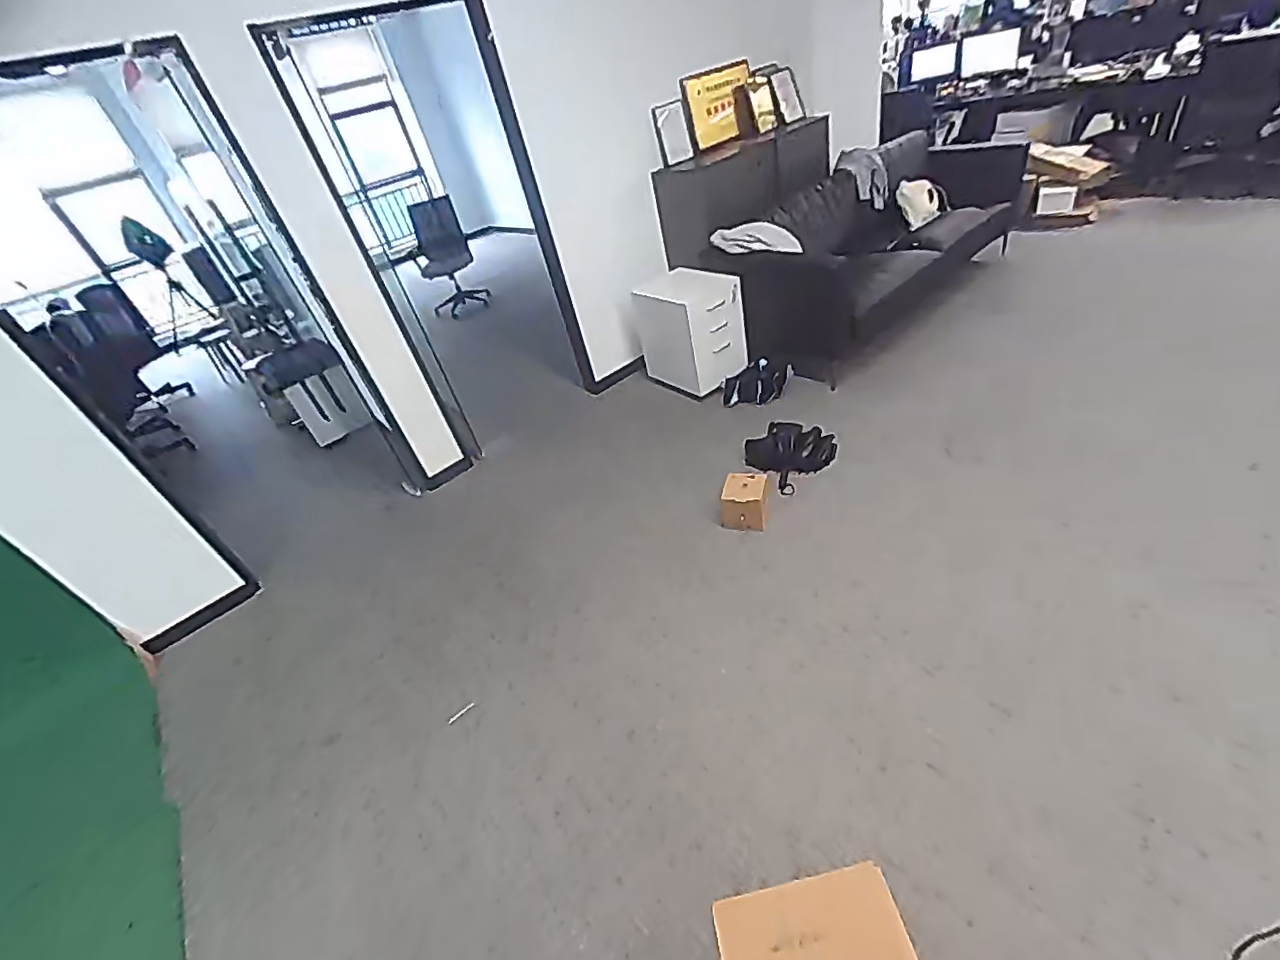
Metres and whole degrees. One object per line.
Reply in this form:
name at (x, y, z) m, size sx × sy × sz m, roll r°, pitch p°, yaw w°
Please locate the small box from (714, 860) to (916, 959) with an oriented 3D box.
small box at (0.187, 0.498, 0.510) m, size 0.168 × 0.176 × 0.179 m, roll -20°, pitch 41°, yaw 4°
